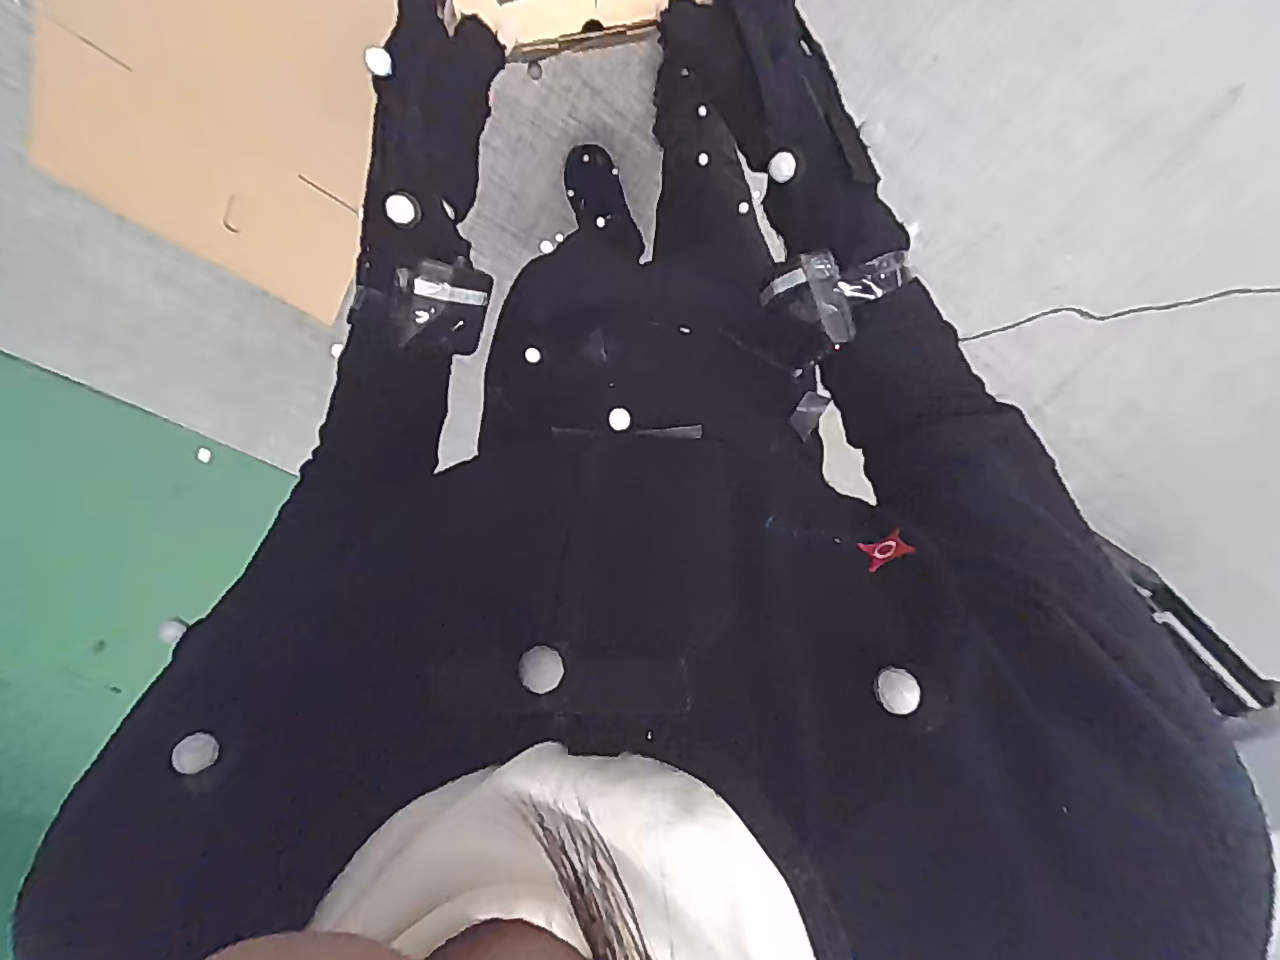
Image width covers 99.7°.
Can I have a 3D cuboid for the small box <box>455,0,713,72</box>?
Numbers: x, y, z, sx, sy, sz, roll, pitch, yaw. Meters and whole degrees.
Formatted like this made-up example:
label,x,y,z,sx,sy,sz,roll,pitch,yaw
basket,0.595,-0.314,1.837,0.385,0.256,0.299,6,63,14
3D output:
label,x,y,z,sx,sy,sz,roll,pitch,yaw
small box,-0.050,-0.404,0.368,0.168,0.176,0.179,-11,127,4
